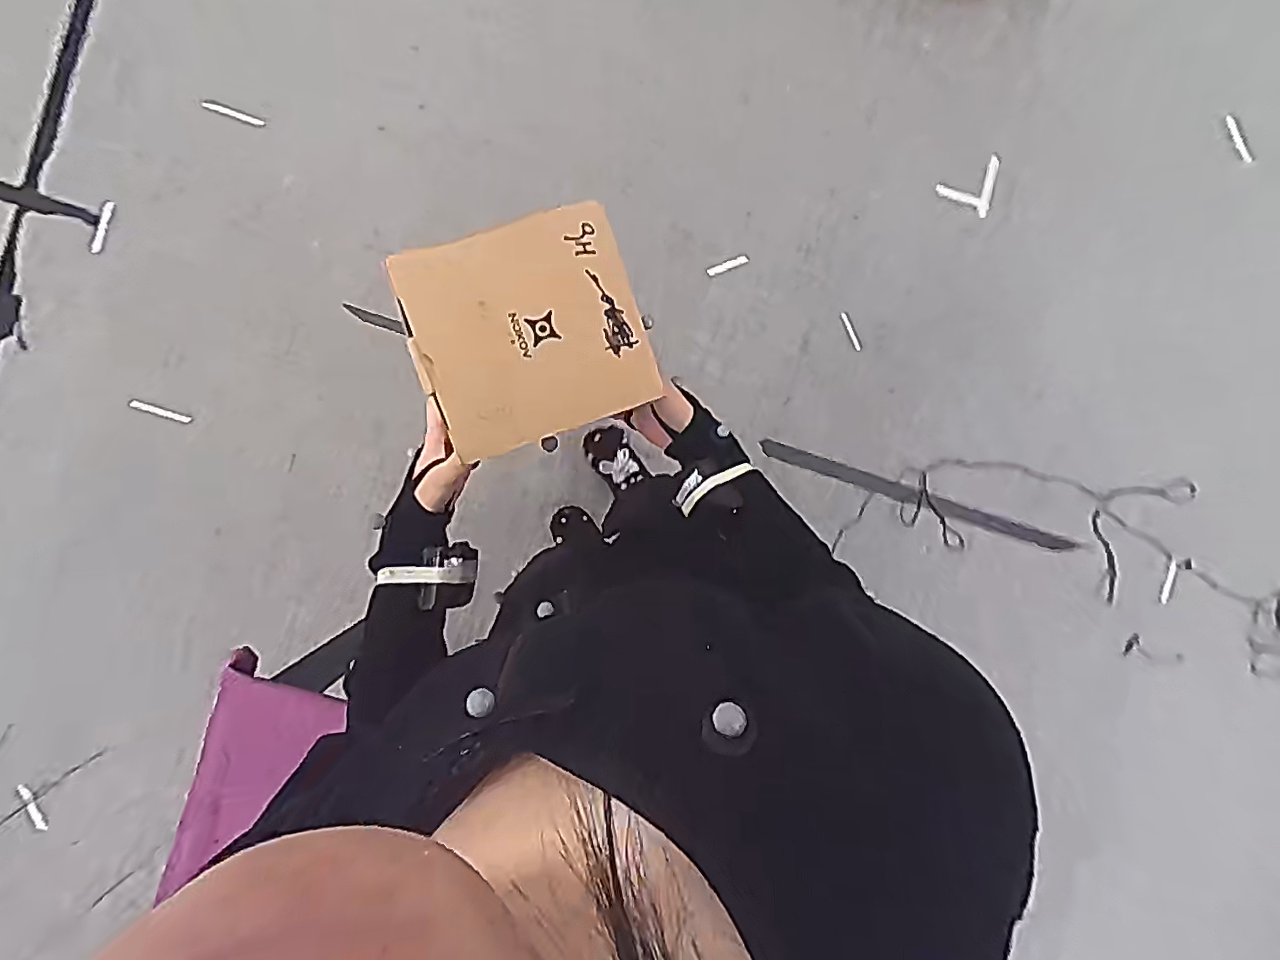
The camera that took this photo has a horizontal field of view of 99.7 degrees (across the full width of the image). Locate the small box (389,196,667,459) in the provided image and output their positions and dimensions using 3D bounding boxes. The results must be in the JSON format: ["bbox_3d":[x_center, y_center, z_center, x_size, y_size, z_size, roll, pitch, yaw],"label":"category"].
[{"bbox_3d":[-0.093,-0.123,0.496,0.179,0.176,0.168,-19,98,-8],"label":"small box"}]
